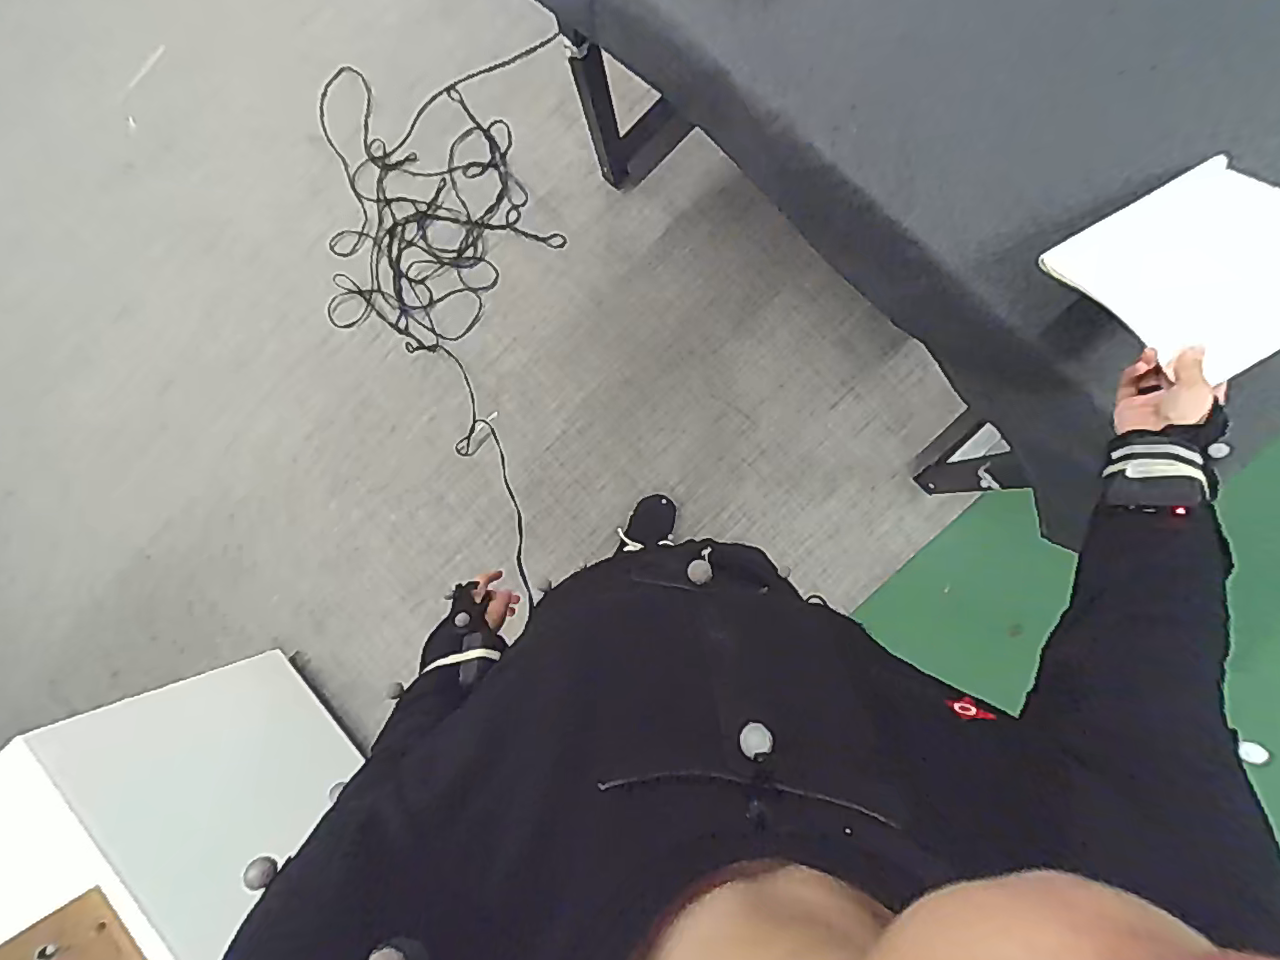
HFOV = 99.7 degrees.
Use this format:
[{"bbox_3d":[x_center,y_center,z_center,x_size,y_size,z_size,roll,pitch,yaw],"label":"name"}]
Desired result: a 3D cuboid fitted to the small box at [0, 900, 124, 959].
[{"bbox_3d":[-0.877,0.753,0.757,0.179,0.176,0.168,-42,82,4],"label":"small box"}]
